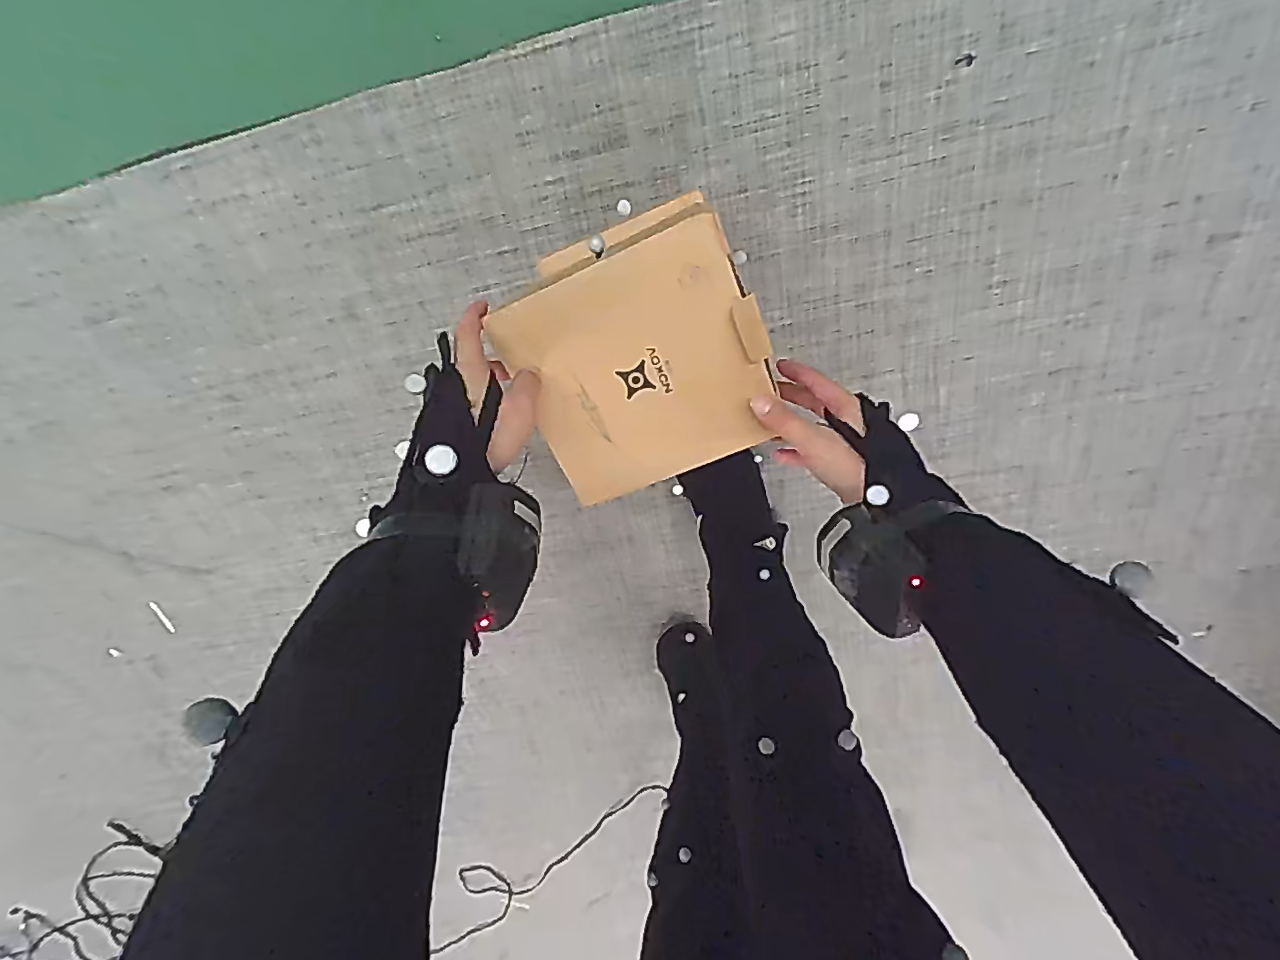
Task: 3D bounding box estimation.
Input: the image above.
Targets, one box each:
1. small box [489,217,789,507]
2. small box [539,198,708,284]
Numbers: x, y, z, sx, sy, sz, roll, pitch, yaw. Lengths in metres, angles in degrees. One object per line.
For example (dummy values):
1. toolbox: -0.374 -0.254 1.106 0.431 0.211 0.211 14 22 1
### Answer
1. small box: 0.005 -0.109 0.464 0.179 0.176 0.168 -21 114 13
2. small box: 0.013 -0.195 0.602 0.168 0.176 0.179 -19 115 11
